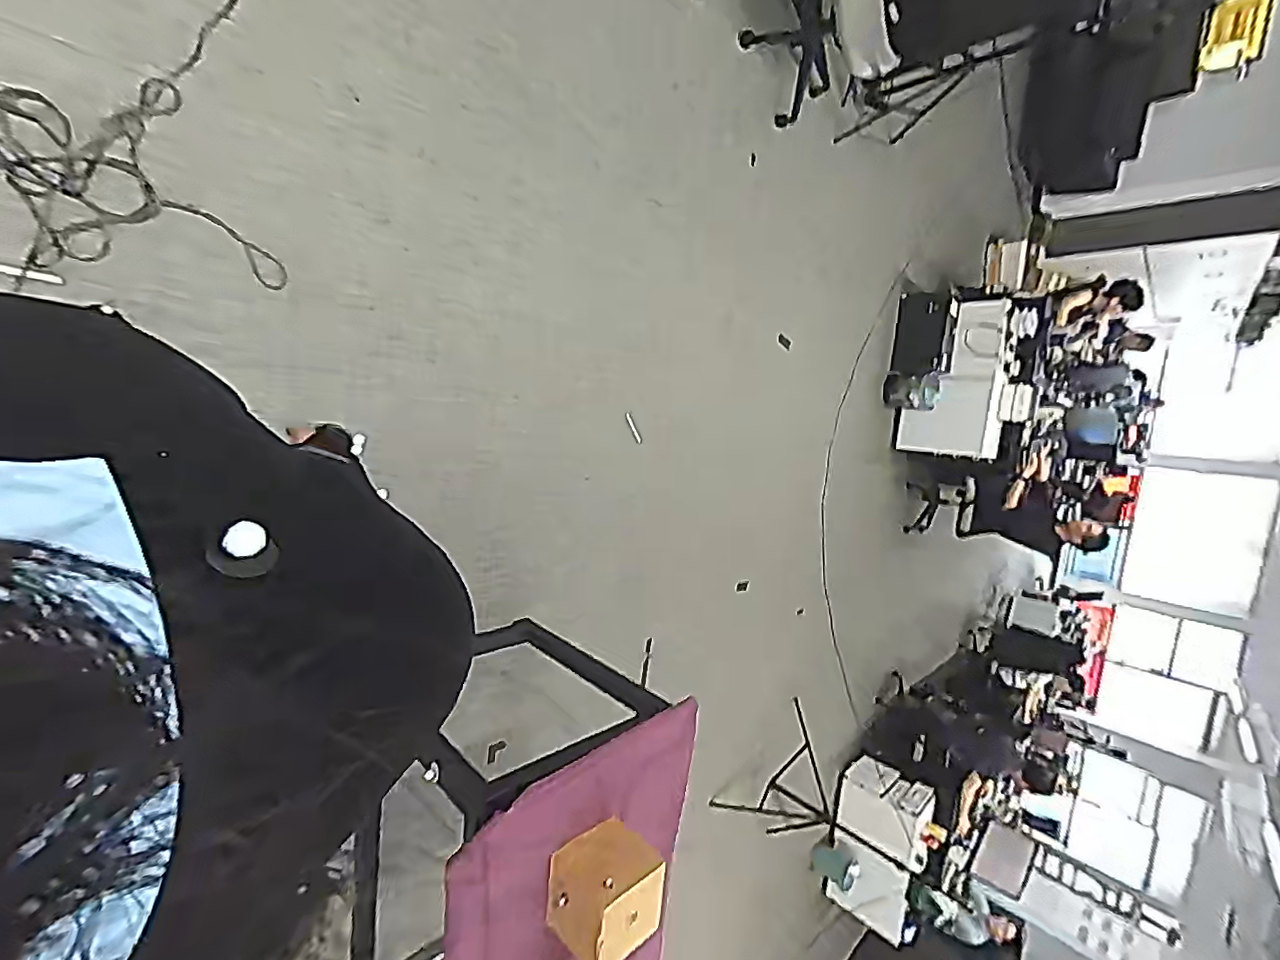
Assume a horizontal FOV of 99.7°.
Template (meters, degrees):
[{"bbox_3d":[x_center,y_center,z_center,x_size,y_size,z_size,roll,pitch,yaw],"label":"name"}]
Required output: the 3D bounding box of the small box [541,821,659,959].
[{"bbox_3d":[-0.085,0.869,1.139,0.179,0.176,0.168,-2,101,-44],"label":"small box"}]
